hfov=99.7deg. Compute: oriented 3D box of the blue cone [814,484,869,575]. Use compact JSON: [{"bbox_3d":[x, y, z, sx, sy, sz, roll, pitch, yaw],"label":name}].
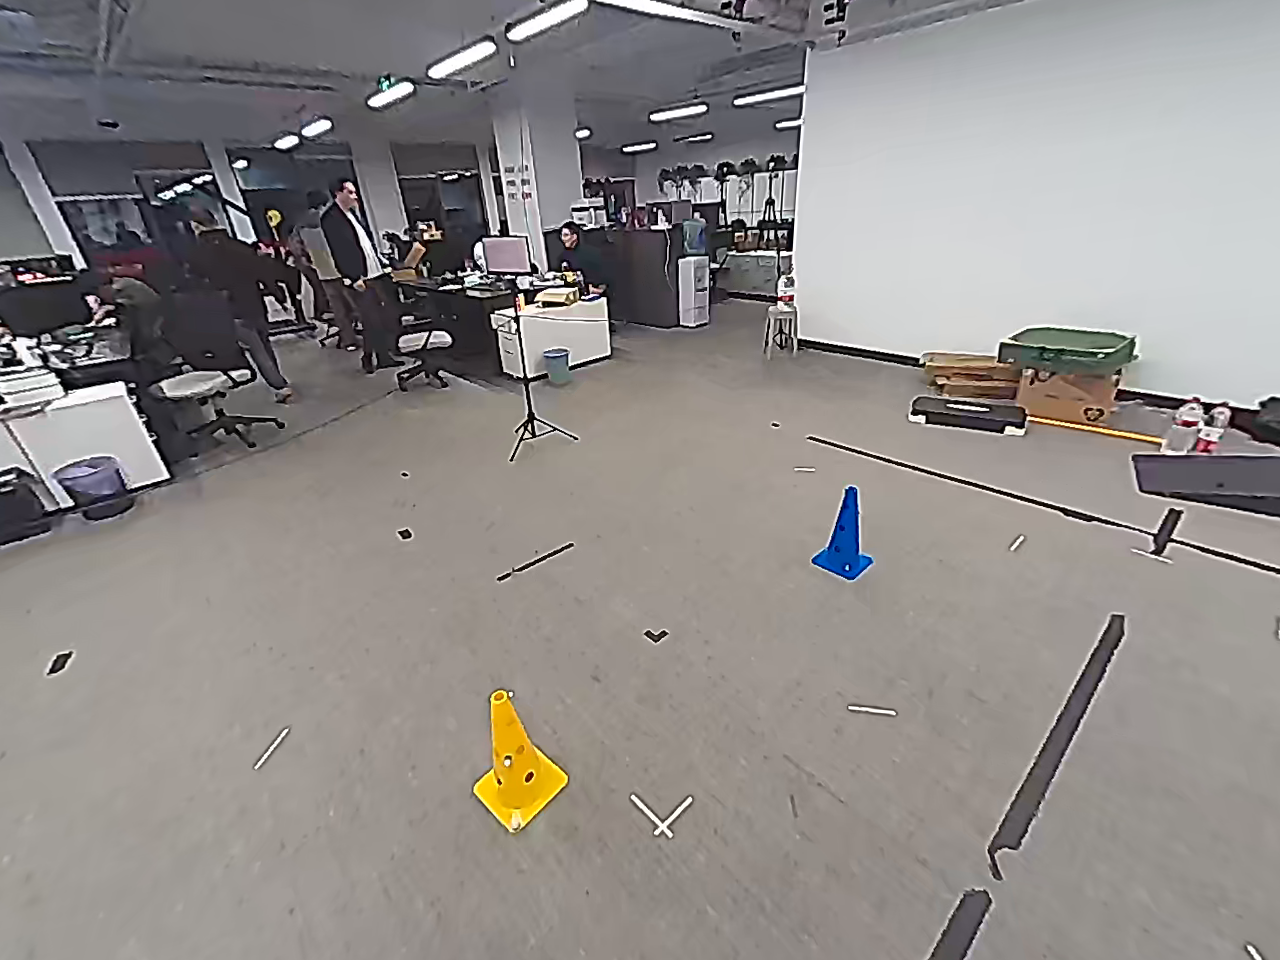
[{"bbox_3d":[0.858,0.193,2.254,0.193,0.380,0.192,-24,33,-34],"label":"blue cone"}]
